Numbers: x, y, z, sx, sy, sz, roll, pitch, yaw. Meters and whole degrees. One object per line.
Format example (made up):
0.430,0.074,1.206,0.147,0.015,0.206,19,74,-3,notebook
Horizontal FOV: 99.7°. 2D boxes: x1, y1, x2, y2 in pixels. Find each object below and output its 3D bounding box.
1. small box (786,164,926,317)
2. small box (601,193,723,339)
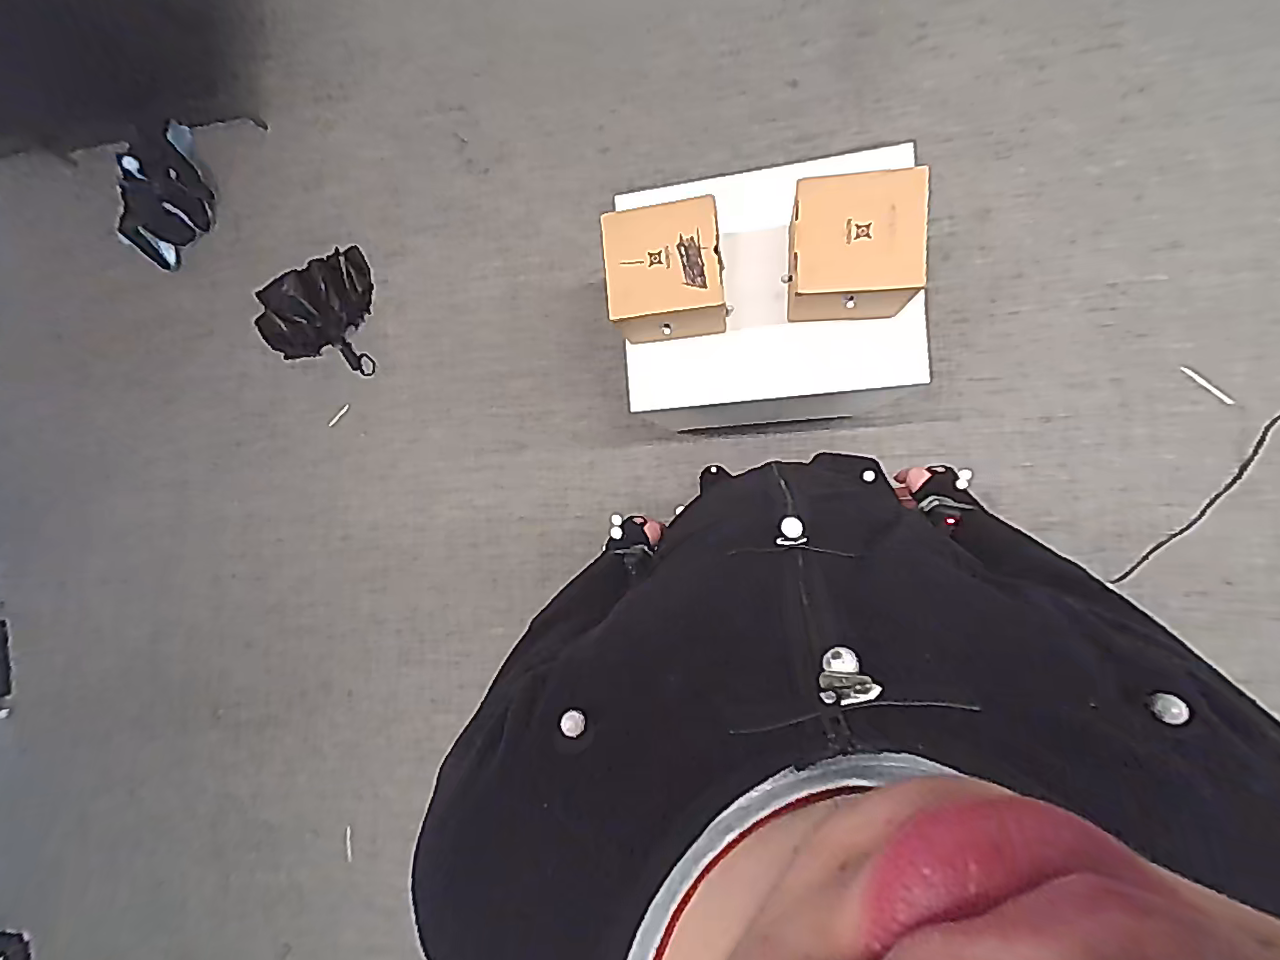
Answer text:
0.320,-0.354,0.834,0.179,0.176,0.168,1,93,11,small box
0.045,-0.338,0.887,0.179,0.176,0.168,-4,90,12,small box
